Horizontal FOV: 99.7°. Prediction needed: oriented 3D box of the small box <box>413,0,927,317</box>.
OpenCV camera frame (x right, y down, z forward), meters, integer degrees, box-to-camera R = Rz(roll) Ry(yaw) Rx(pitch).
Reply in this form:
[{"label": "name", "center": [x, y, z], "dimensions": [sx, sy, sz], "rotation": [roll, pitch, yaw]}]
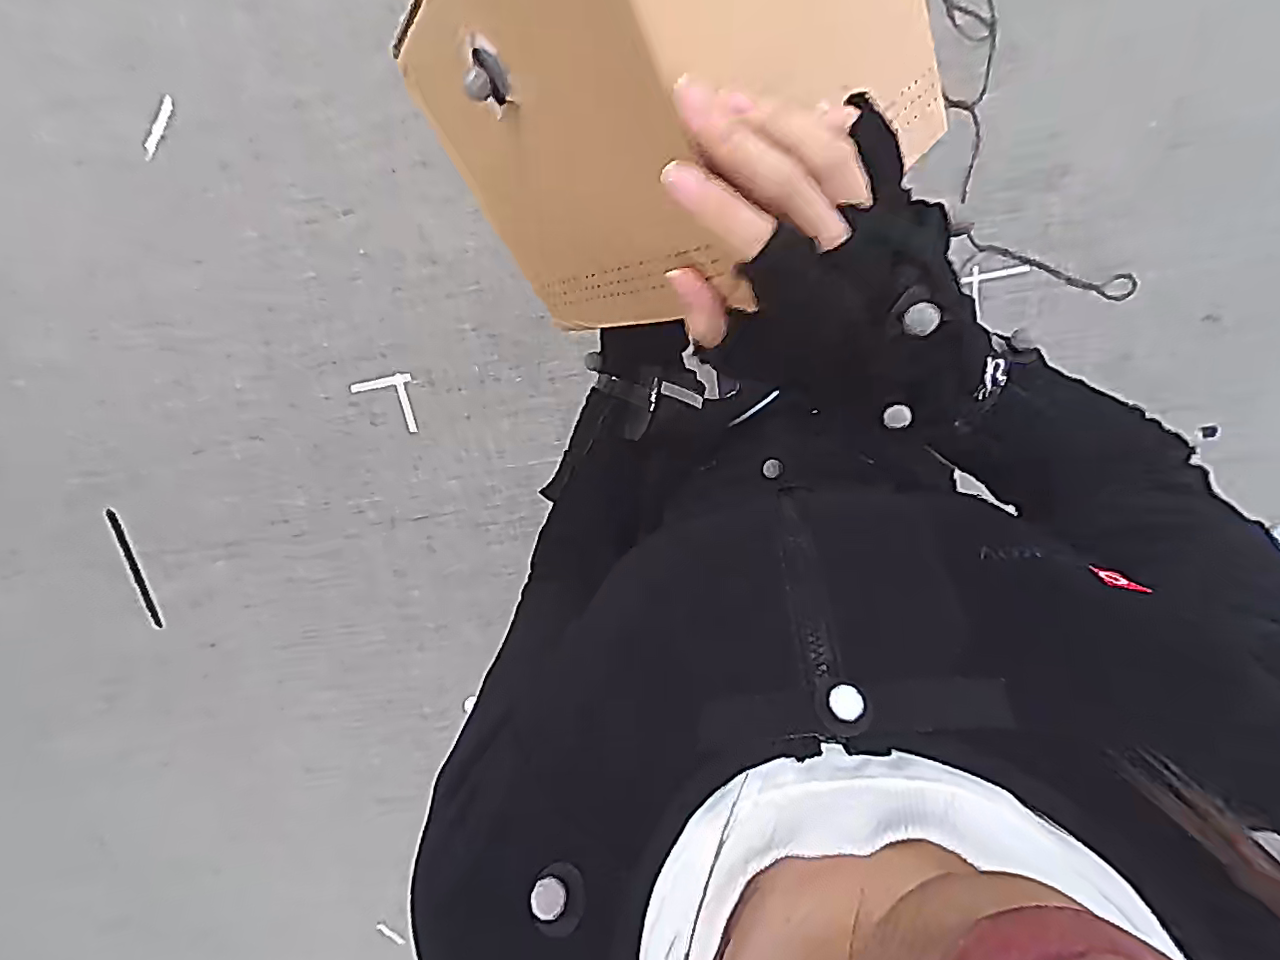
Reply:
[{"label": "small box", "center": [0.015, -0.203, 0.290], "dimensions": [0.168, 0.179, 0.176], "rotation": [-45, 121, -17]}]
